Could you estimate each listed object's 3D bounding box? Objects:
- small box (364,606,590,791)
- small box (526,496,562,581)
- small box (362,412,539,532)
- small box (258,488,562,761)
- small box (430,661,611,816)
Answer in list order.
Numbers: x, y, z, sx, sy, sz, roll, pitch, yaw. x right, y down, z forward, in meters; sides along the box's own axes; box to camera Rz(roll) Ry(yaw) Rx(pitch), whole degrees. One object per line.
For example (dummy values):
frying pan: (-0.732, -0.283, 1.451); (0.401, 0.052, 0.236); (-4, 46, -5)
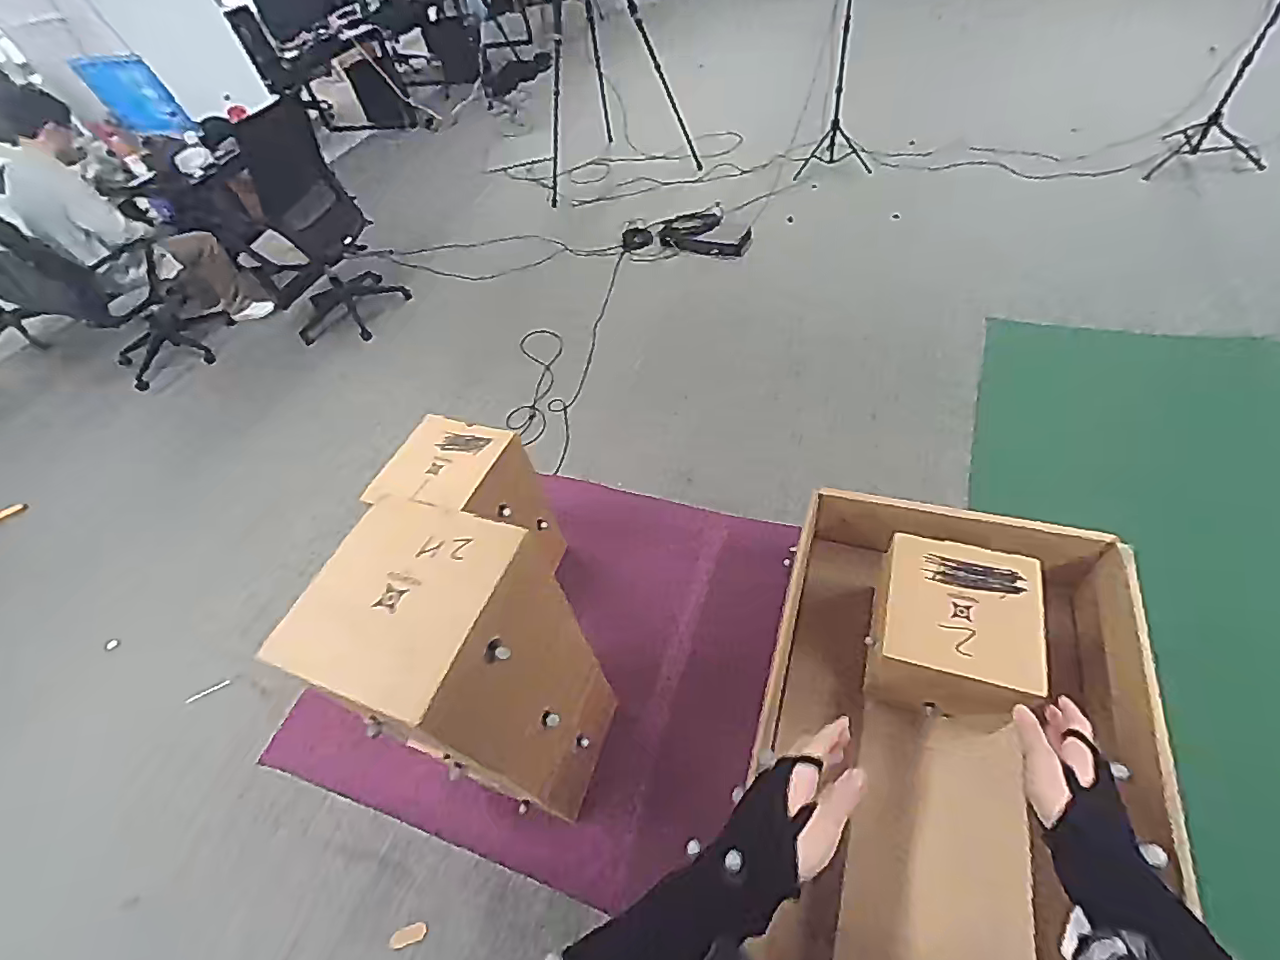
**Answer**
small box: (-0.173, 0.242, 0.642); (0.168, 0.176, 0.179); (12, 55, 18)
small box: (-0.257, 0.129, 0.962); (0.168, 0.176, 0.179); (10, 53, 18)
small box: (-0.274, 0.026, 0.834); (0.168, 0.176, 0.179); (13, 56, 20)
small box: (-0.192, 0.139, 0.514); (0.168, 0.176, 0.179); (13, 54, 18)
small box: (-0.152, 0.347, 0.766); (0.168, 0.176, 0.179); (12, 53, 18)
